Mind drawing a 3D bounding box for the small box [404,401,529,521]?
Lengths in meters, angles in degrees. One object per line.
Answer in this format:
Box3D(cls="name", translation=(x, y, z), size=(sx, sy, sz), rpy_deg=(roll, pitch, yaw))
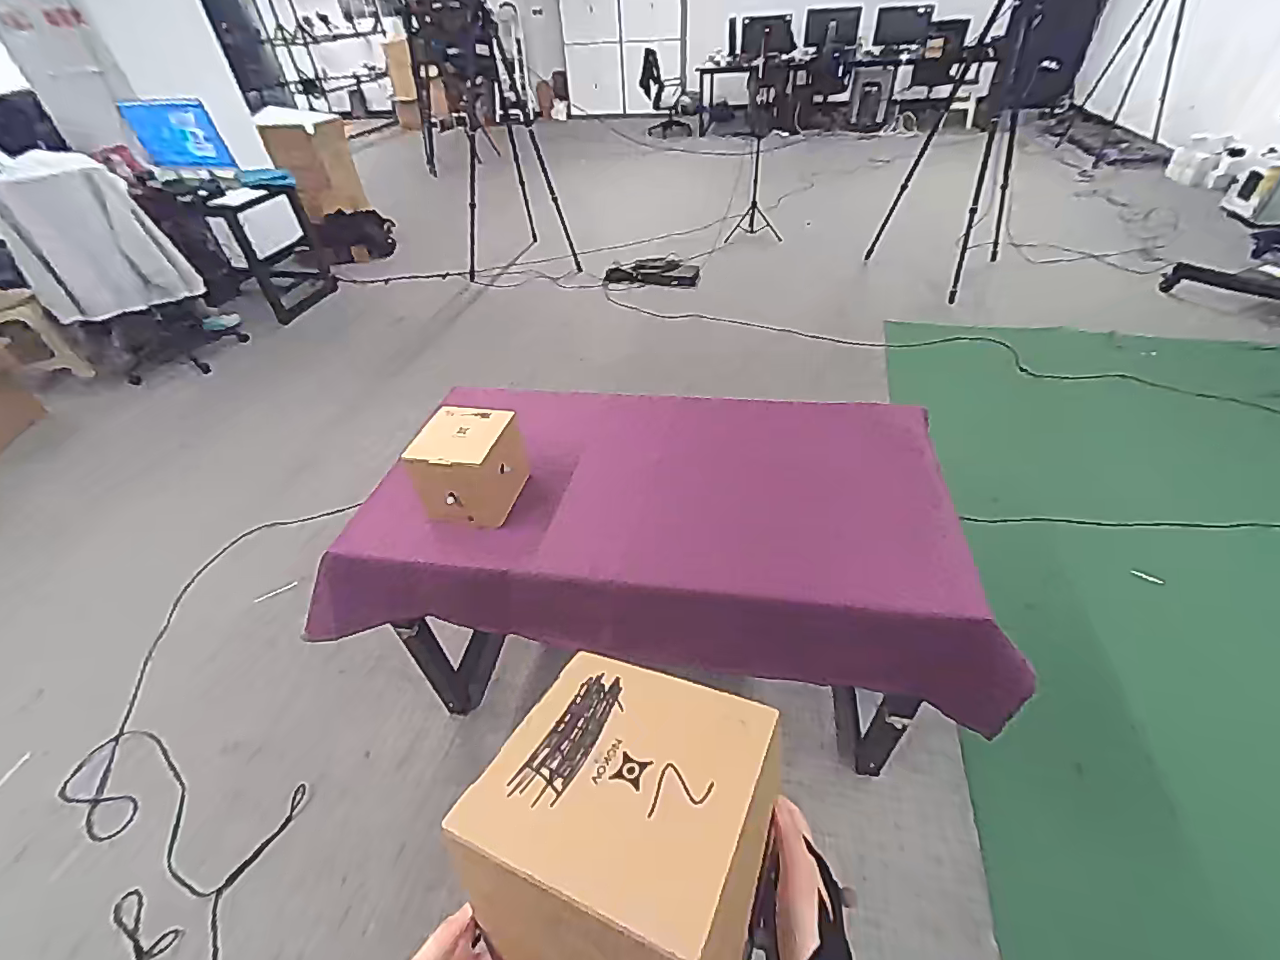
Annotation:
Box3D(cls="small box", translation=(-0.341, -0.039, 1.105), size=(0.168, 0.176, 0.179), rpy_deg=(8, 44, 10))
